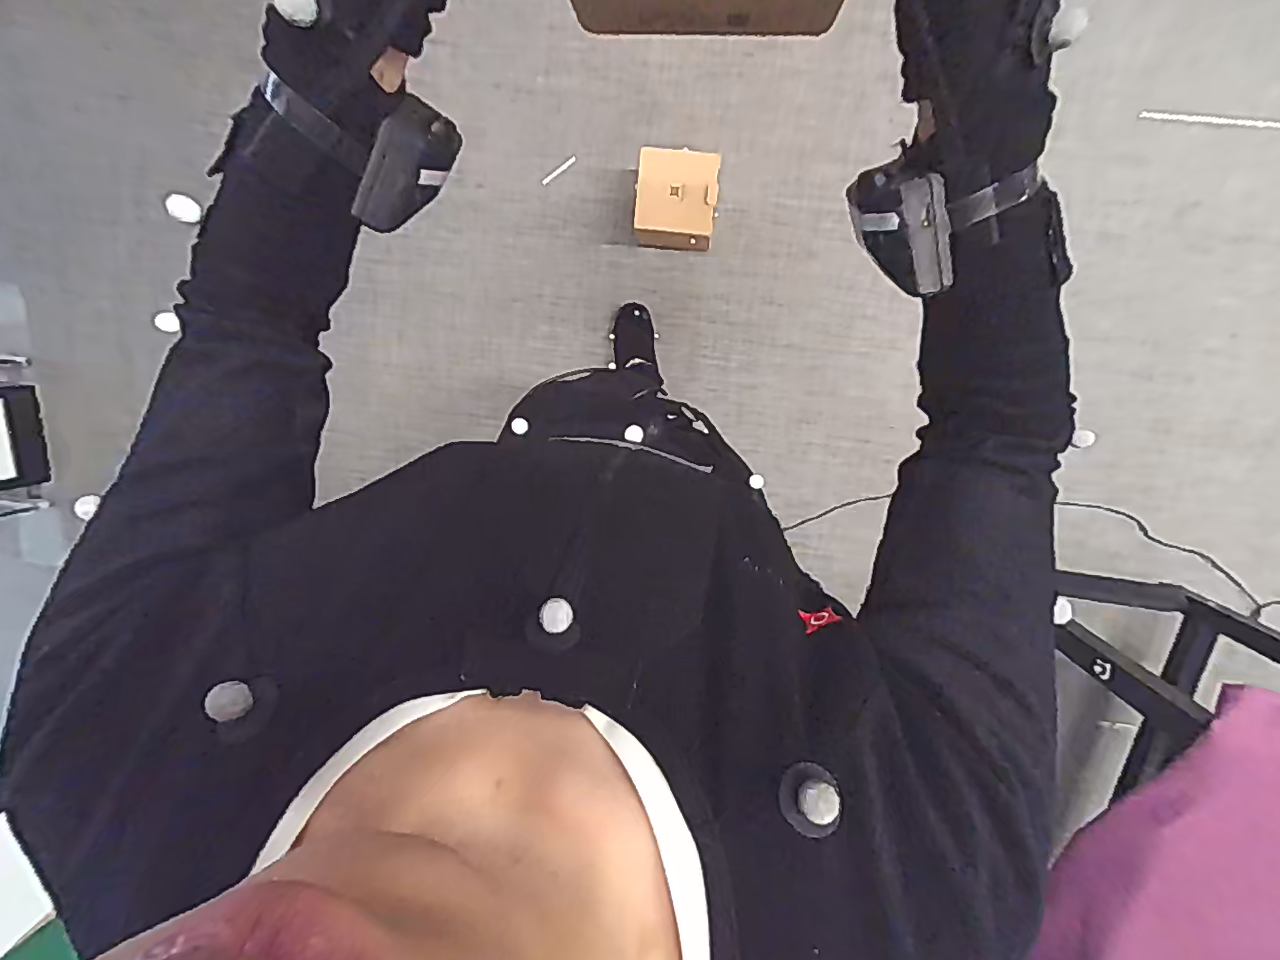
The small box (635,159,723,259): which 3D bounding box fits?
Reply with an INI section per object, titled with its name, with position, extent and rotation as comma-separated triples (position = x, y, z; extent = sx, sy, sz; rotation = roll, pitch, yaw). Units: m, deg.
[small box]
position = 0.091, -0.621, 1.258
extent = 0.179, 0.176, 0.168
rotation = 7, 102, 3
